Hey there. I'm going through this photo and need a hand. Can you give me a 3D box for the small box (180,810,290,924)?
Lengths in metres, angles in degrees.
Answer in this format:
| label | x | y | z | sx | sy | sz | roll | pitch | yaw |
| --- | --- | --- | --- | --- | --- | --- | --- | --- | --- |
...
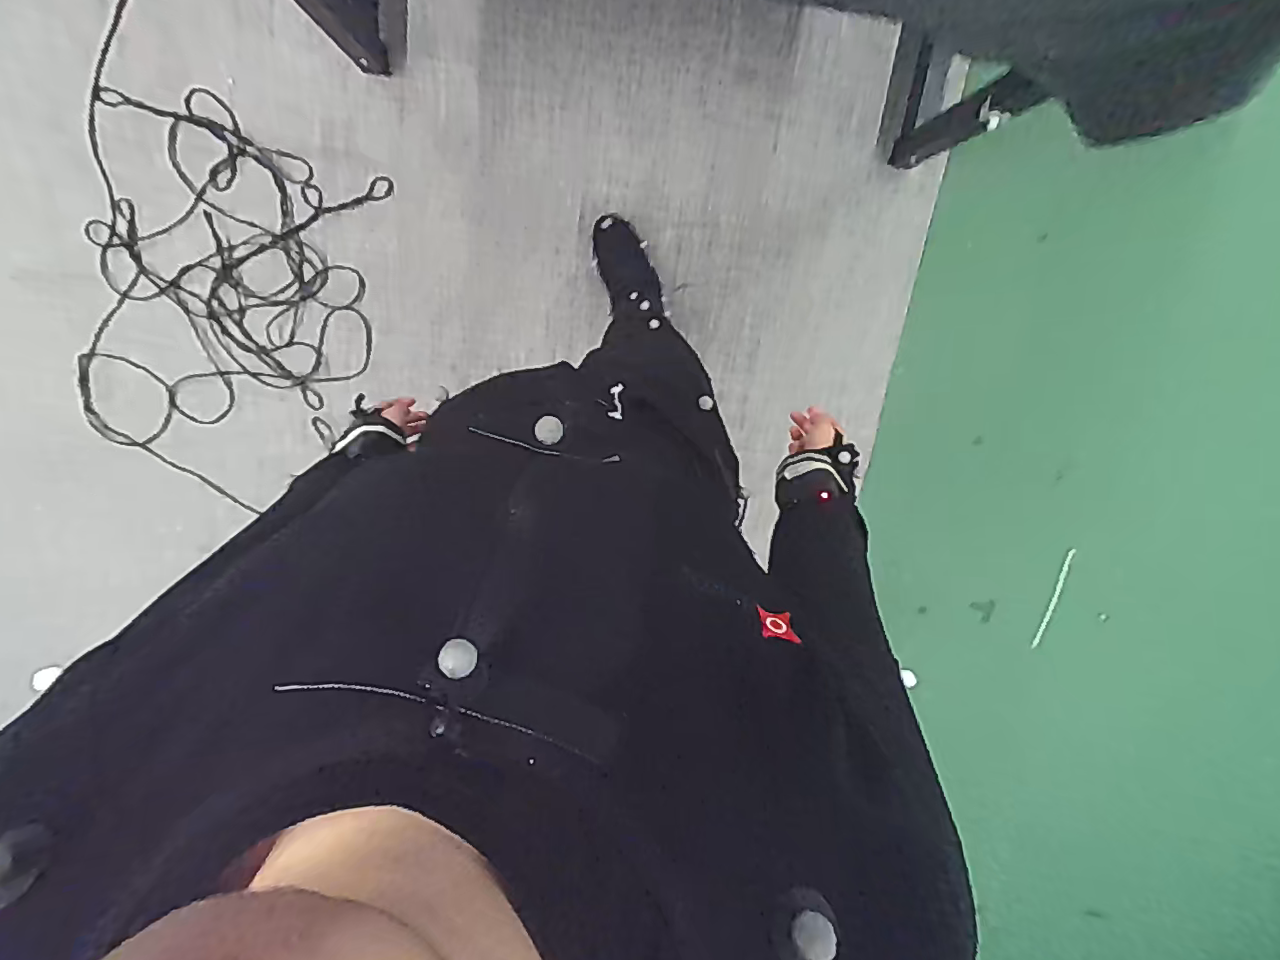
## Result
| label | x | y | z | sx | sy | sz | roll | pitch | yaw |
| --- | --- | --- | --- | --- | --- | --- | --- | --- | --- |
| small box | -1.123 | 1.077 | 1.514 | 0.168 | 0.176 | 0.179 | 25 | 103 | -11 |
